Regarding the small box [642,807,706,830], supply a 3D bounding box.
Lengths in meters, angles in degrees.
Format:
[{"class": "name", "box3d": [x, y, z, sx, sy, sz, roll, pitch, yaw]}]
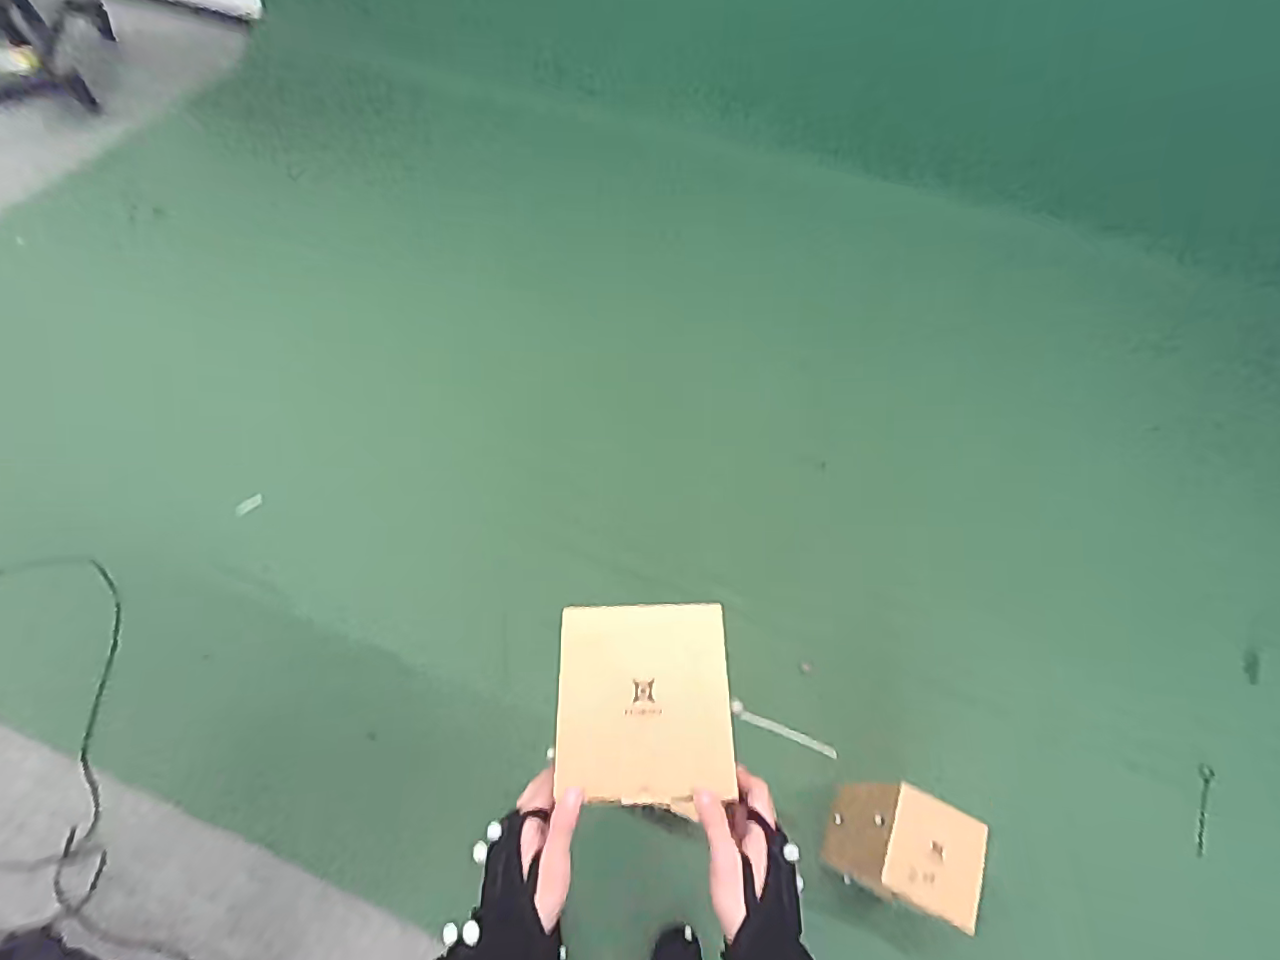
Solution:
[{"class": "small box", "box3d": [0.074, 0.670, 1.237, 0.168, 0.176, 0.179, 17, 60, 7]}]

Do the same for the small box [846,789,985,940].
[{"class": "small box", "box3d": [0.522, 0.725, 1.042, 0.168, 0.176, 0.179, 25, 62, 11]}]

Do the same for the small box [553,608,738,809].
[{"class": "small box", "box3d": [0.005, 0.246, 0.579, 0.168, 0.176, 0.179, -2, 62, 1]}]
